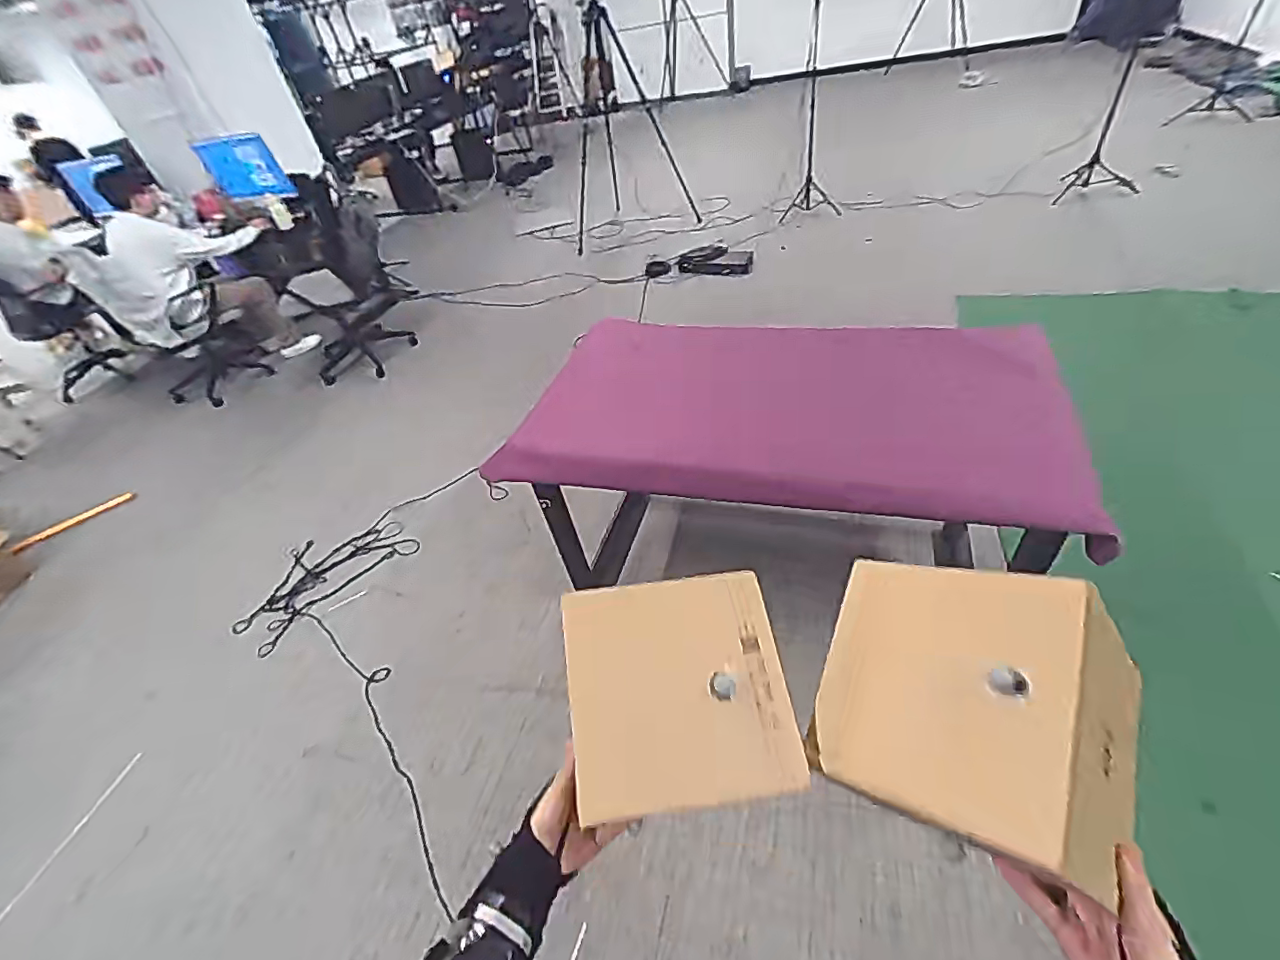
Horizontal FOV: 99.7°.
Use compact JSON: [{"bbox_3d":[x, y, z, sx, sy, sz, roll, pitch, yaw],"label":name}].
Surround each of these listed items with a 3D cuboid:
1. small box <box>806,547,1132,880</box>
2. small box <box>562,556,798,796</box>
[{"bbox_3d":[0.259,0.168,0.433,0.176,0.168,0.179,-5,52,51],"label":"small box"},{"bbox_3d":[0.021,0.180,0.492,0.176,0.179,0.168,-5,60,-11],"label":"small box"}]
